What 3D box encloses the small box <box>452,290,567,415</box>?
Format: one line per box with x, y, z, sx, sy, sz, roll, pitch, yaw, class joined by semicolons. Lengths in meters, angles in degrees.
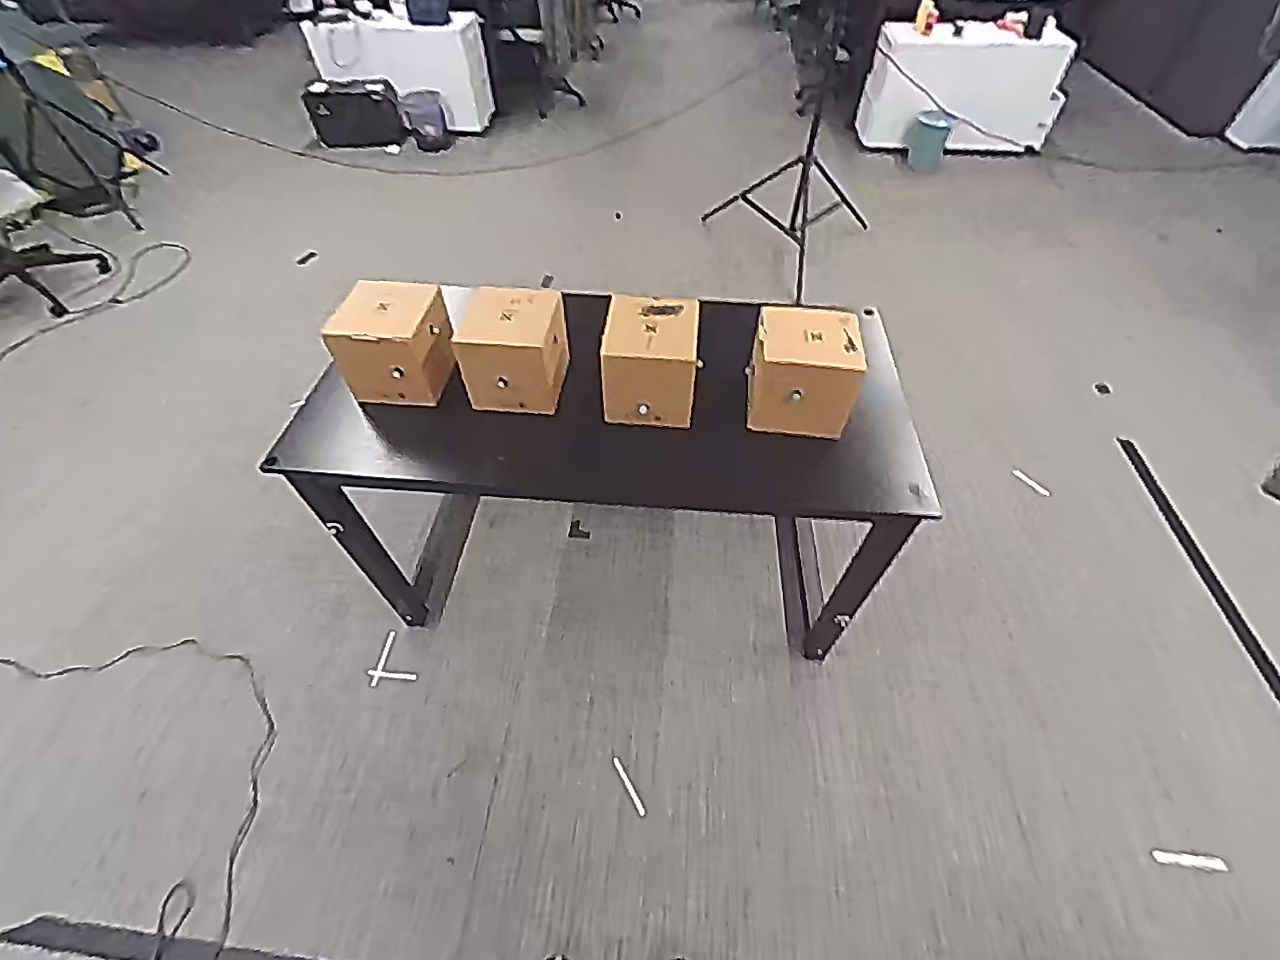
-0.241;-0.246;1.057;0.168;0.176;0.179;5;51;3;small box

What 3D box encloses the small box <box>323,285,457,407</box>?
-0.480;-0.263;1.074;0.168;0.176;0.179;4;50;2;small box

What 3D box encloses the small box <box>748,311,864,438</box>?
0.301;-0.195;1.017;0.179;0.176;0.168;6;51;6;small box

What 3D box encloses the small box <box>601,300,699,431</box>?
0.021;-0.219;1.036;0.168;0.176;0.179;4;52;4;small box
